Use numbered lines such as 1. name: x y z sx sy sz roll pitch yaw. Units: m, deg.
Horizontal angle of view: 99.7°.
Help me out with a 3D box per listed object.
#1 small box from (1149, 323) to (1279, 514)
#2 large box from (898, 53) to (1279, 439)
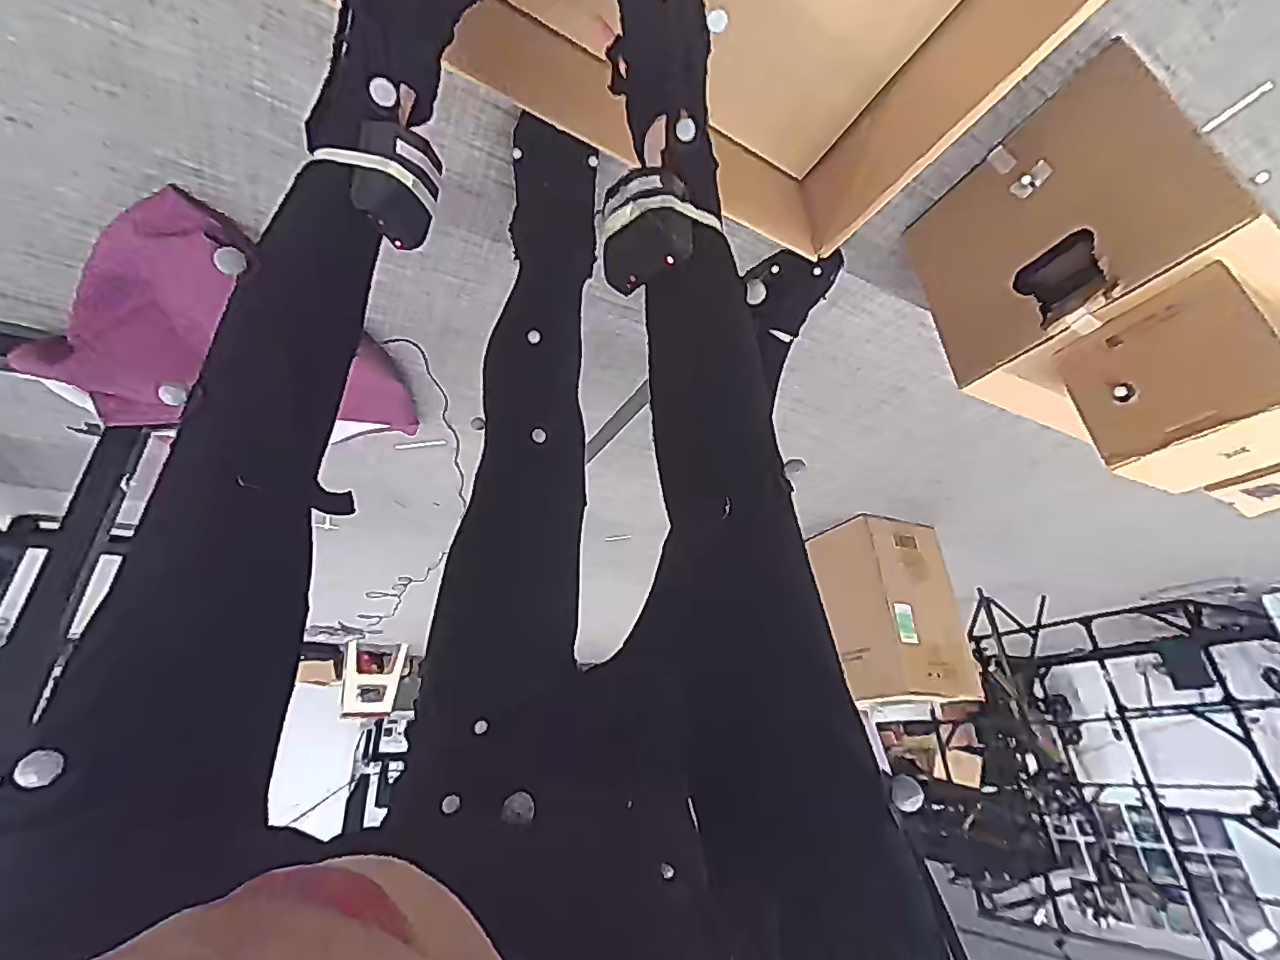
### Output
1. small box: 0.810 -0.078 0.694 0.168 0.176 0.179 14 147 -30
2. large box: 0.668 -0.297 0.786 0.408 0.320 0.320 10 151 -27
